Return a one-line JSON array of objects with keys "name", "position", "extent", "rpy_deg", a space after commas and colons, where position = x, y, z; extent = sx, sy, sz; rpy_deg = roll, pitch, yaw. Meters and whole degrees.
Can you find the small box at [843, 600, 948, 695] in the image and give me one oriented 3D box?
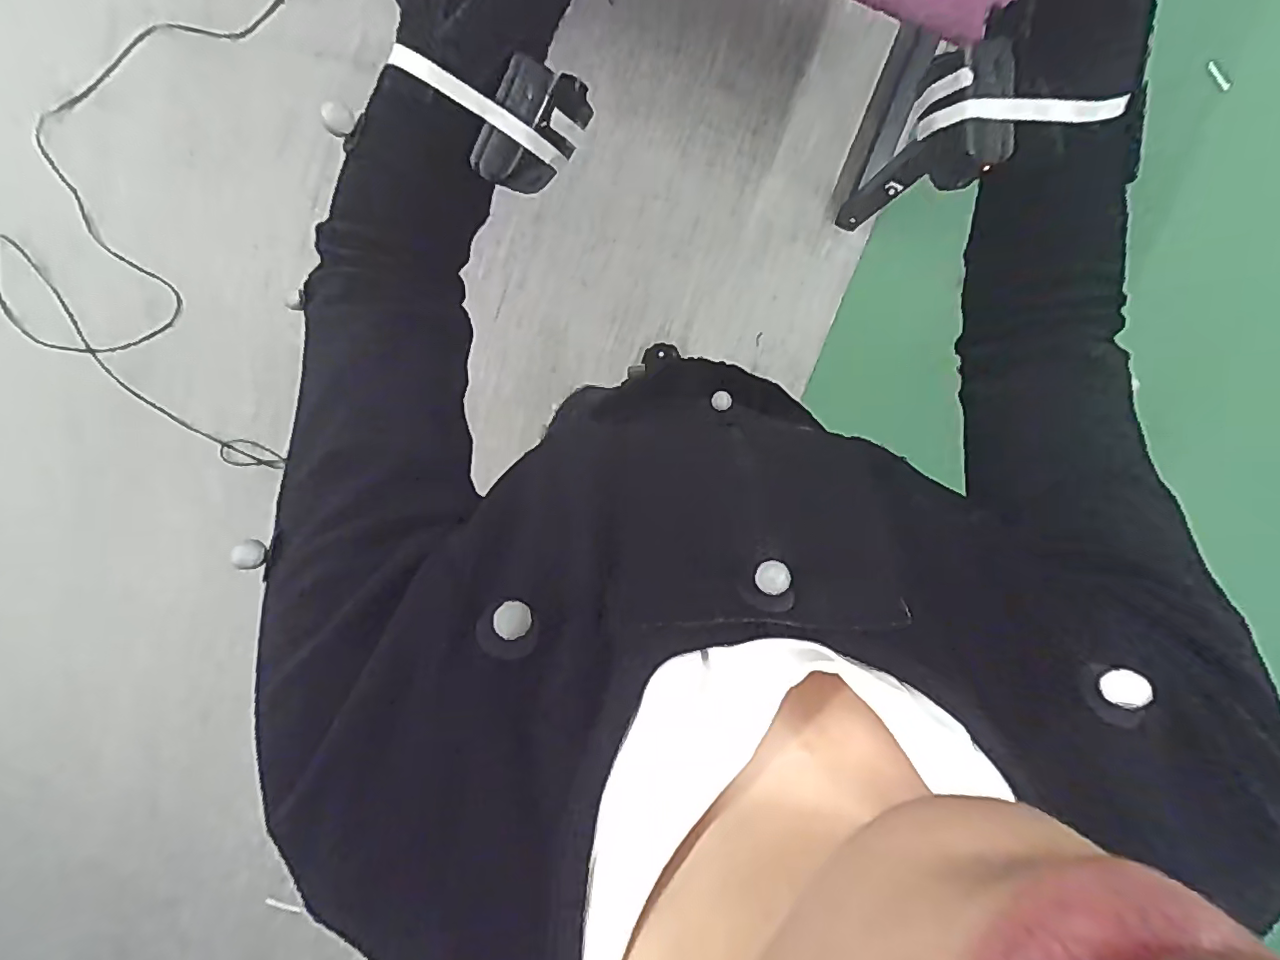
[{"name": "small box", "position": [0.684, 0.445, 1.472], "extent": [0.179, 0.176, 0.168], "rpy_deg": [22, 97, -4]}]
